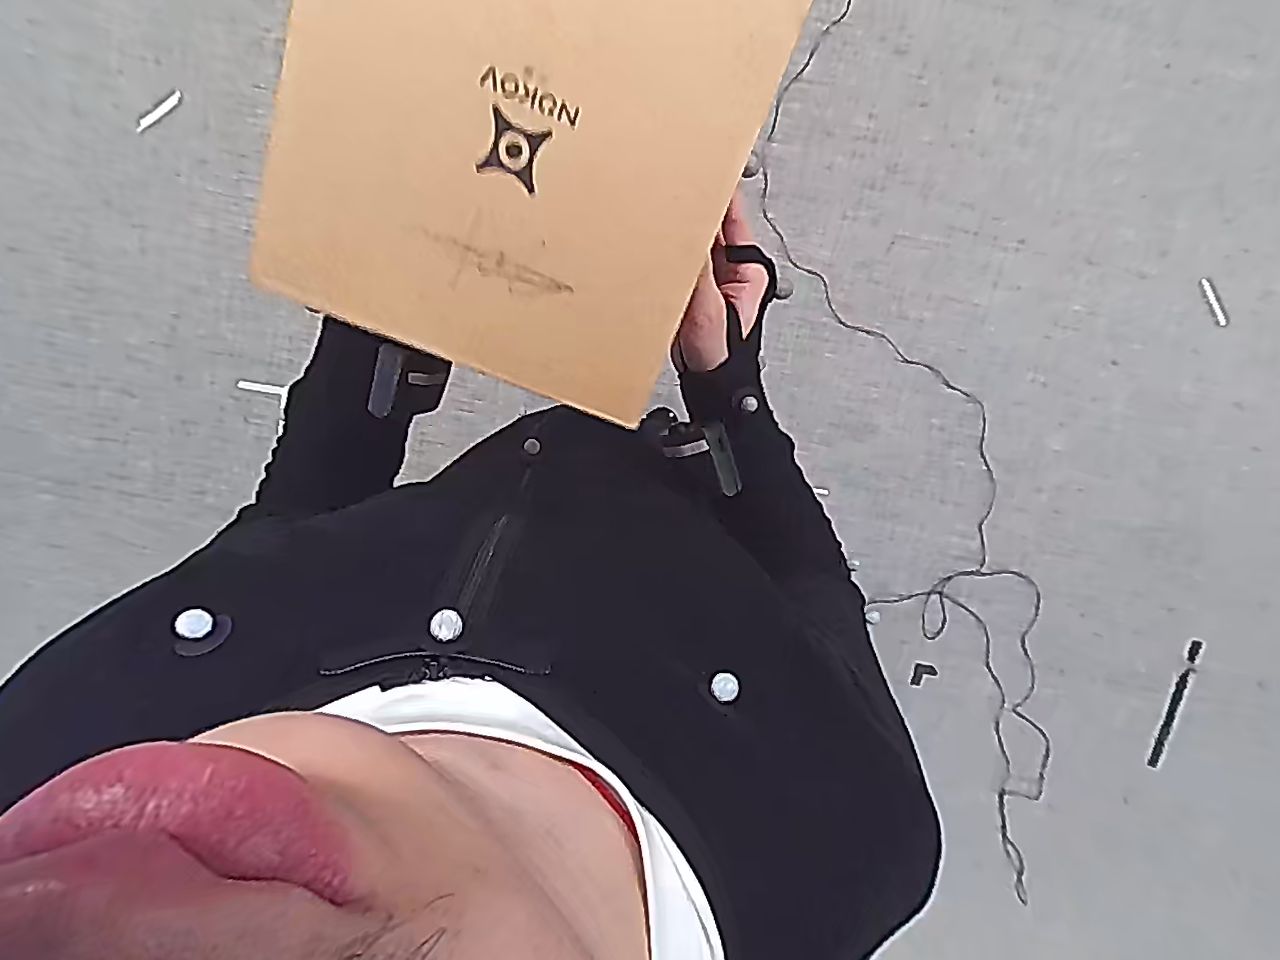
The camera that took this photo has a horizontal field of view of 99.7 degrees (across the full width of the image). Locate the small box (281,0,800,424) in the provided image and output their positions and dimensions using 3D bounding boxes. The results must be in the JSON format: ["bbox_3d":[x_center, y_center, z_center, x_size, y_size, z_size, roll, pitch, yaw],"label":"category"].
[{"bbox_3d":[-0.048,-0.156,0.288,0.168,0.176,0.179,19,110,-9],"label":"small box"}]
